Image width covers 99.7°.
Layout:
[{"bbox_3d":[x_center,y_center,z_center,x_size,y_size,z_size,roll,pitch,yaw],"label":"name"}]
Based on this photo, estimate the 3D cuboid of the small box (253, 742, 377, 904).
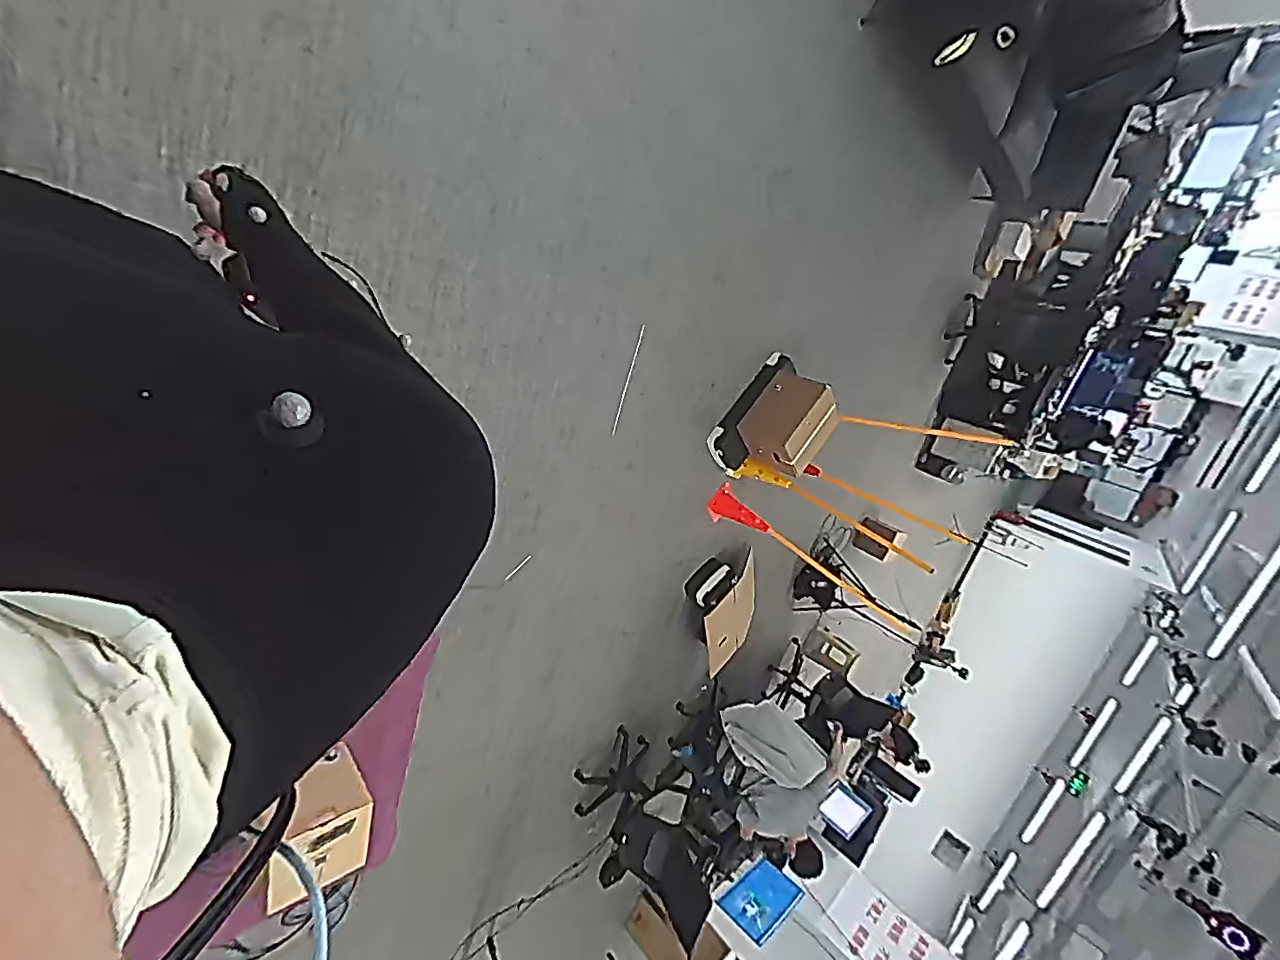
[{"bbox_3d":[-0.627,0.638,1.038,0.168,0.176,0.179,-5,118,-46],"label":"small box"}]
